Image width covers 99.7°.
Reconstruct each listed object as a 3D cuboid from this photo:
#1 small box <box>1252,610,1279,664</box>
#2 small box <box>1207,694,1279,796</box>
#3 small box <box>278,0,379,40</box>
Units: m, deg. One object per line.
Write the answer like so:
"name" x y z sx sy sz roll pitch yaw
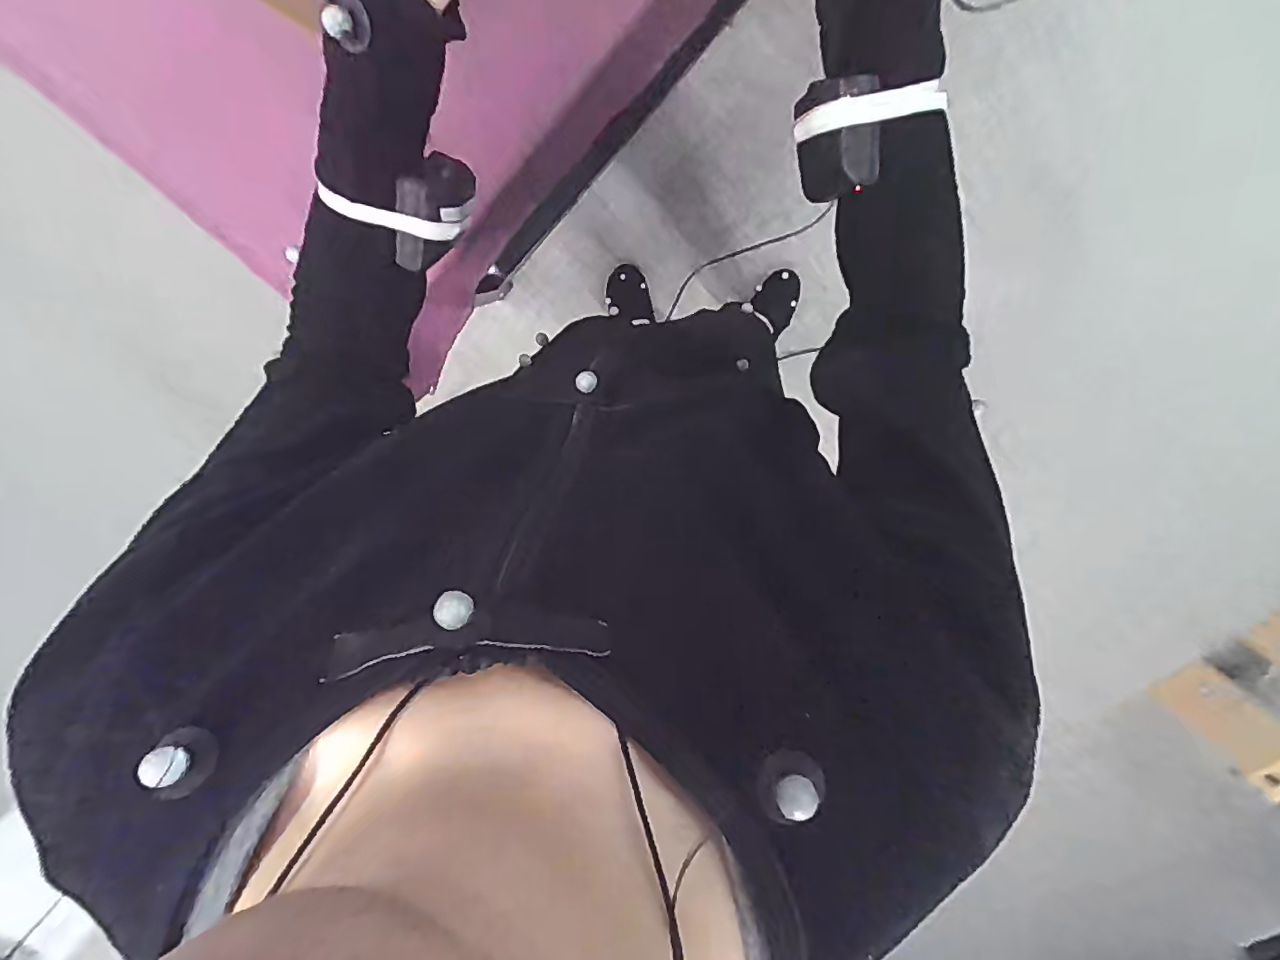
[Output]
"small box" 2.042 0.500 1.641 0.168 0.176 0.179 38 107 -13
"small box" 1.833 0.769 1.577 0.168 0.176 0.179 40 106 -14
"small box" -0.311 -0.553 0.483 0.179 0.176 0.168 -32 108 12
